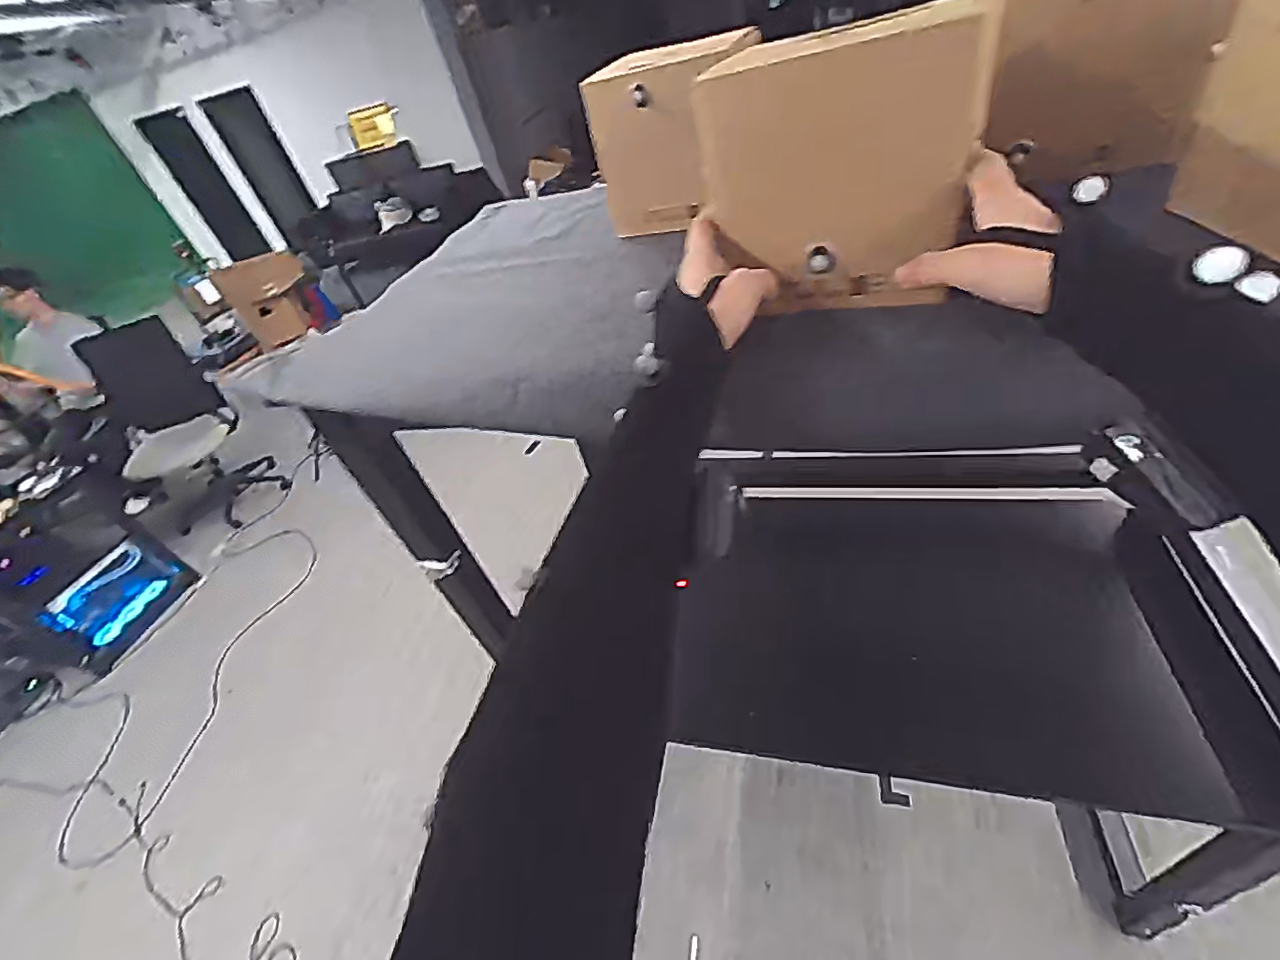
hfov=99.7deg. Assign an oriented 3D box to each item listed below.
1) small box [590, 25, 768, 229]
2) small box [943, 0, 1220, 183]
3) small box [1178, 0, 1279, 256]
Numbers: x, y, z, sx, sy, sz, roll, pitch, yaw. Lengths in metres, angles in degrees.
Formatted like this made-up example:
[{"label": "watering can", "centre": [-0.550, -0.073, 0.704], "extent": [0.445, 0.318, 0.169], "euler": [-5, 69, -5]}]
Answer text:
[{"label": "small box", "centre": [0.061, -0.429, 0.667], "extent": [0.168, 0.176, 0.179], "euler": [3, 43, 22]}, {"label": "small box", "centre": [0.412, -0.408, 0.529], "extent": [0.168, 0.176, 0.179], "euler": [-1, 41, 17]}, {"label": "small box", "centre": [0.470, -0.234, 0.303], "extent": [0.168, 0.176, 0.179], "euler": [-3, 39, 15]}]
